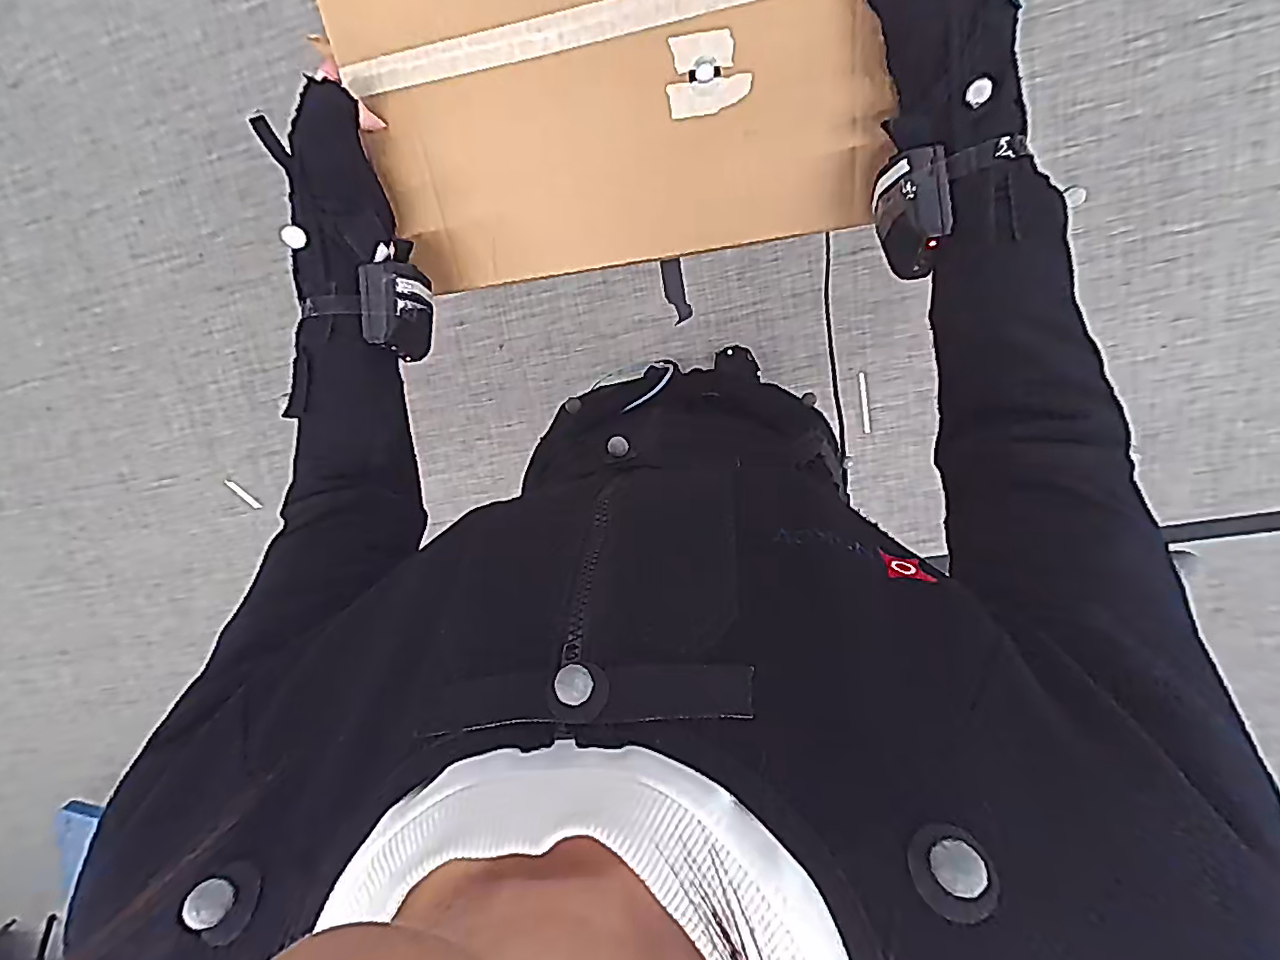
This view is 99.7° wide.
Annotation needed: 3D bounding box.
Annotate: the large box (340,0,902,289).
[{"bbox_3d":[-0.006,-0.388,0.524,0.408,0.320,0.320,-6,113,9],"label":"large box"}]
